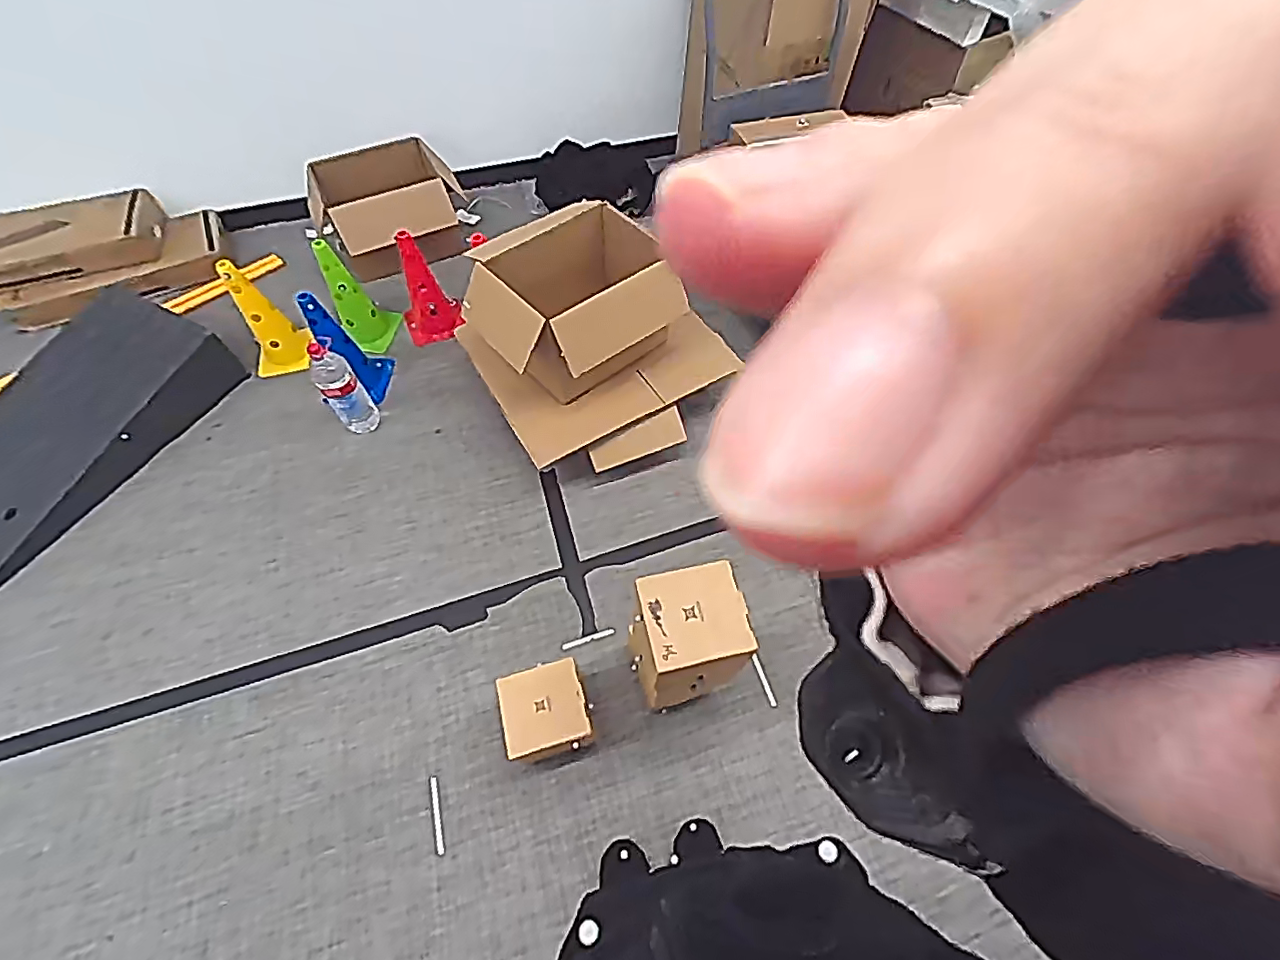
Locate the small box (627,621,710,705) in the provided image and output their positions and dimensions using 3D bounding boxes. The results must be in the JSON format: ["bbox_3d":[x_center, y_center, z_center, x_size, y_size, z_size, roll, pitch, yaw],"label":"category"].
[{"bbox_3d":[0.074,0.417,1.277,0.168,0.176,0.179,-15,60,-11],"label":"small box"}]

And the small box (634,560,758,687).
[{"bbox_3d":[0.092,0.264,0.986,0.179,0.176,0.168,-10,60,-8],"label":"small box"}]

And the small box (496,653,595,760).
[{"bbox_3d":[-0.208,0.513,1.215,0.179,0.176,0.168,-14,60,-10],"label":"small box"}]

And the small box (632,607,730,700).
[{"bbox_3d":[0.087,0.346,1.129,0.179,0.176,0.168,-13,61,-10],"label":"small box"}]
